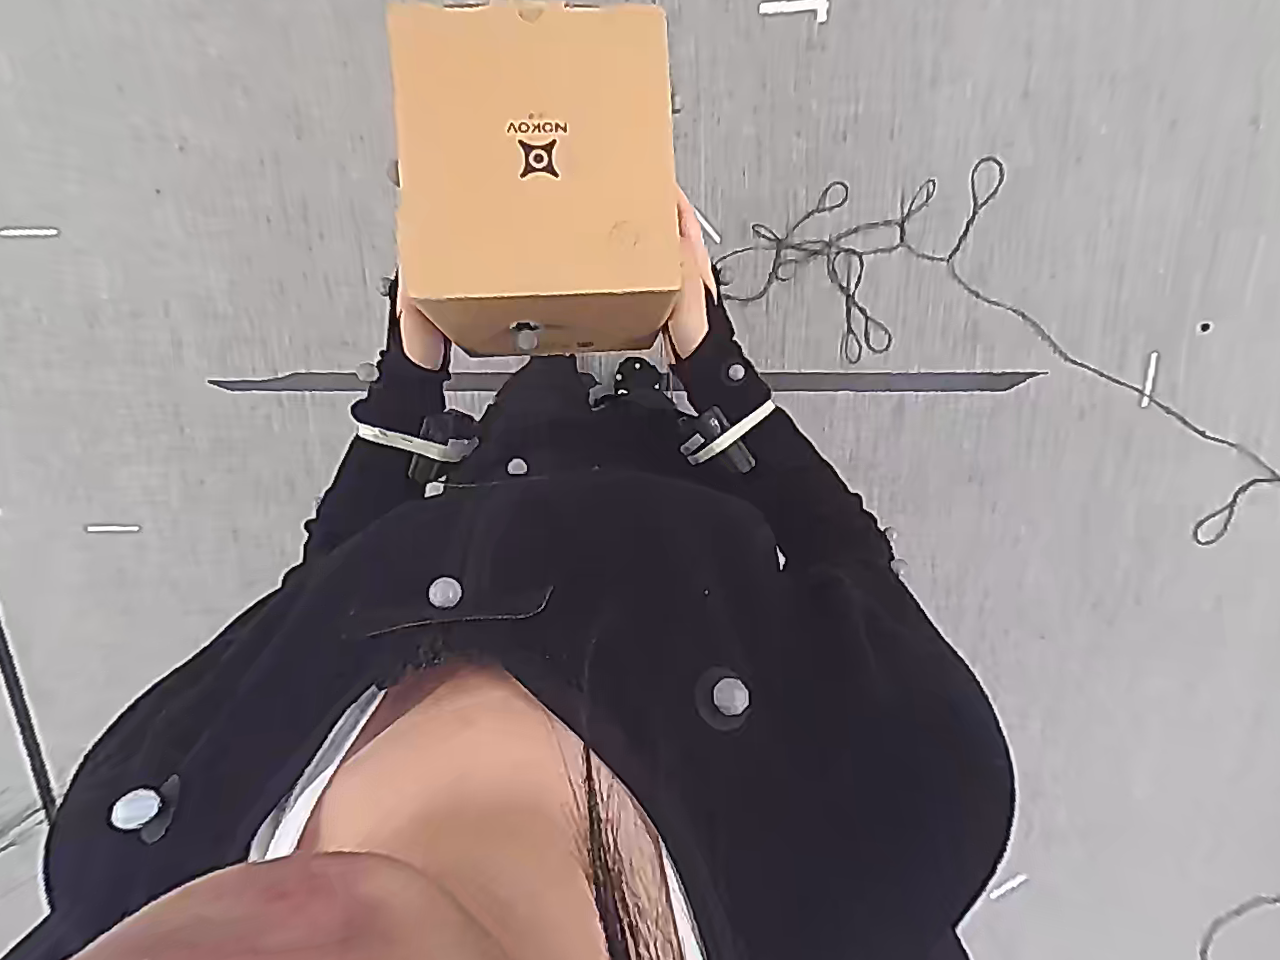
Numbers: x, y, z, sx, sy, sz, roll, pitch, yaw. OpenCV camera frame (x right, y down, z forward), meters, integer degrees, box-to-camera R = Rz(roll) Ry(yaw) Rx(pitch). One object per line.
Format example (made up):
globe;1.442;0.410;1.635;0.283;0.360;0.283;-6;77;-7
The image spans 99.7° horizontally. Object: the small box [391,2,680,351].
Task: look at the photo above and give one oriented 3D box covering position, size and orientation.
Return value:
small box;-0.066;-0.198;0.403;0.168;0.176;0.179;-4;90;-5
